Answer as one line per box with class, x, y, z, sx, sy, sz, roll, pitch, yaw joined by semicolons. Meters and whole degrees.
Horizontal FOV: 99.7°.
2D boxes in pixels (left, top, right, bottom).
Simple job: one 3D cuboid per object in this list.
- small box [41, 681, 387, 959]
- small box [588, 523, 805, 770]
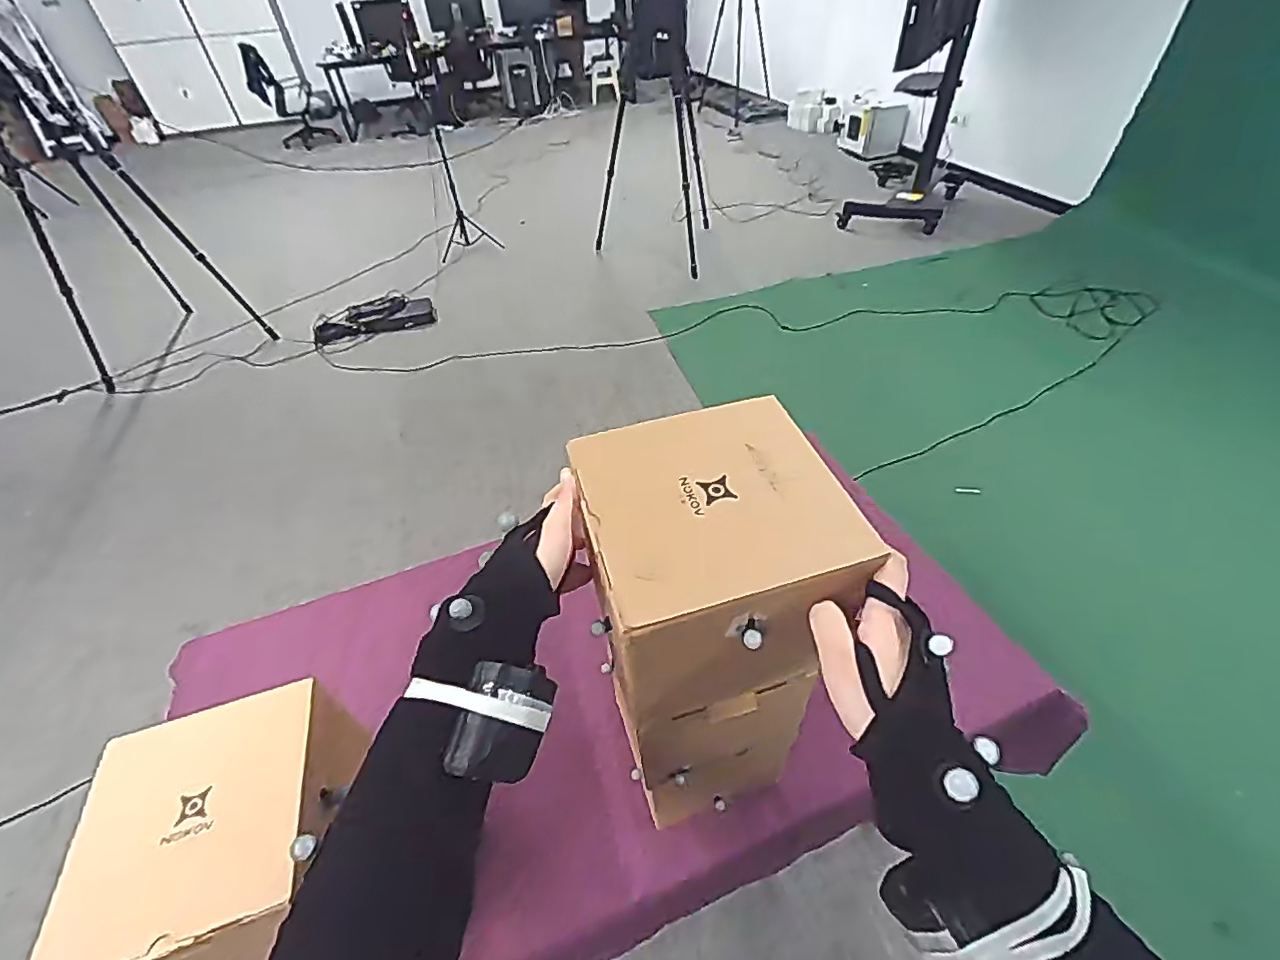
small box;-0.340;0.317;0.479;0.168;0.176;0.179;-16;47;-11
small box;0.052;0.180;0.570;0.168;0.176;0.179;-14;44;-9
